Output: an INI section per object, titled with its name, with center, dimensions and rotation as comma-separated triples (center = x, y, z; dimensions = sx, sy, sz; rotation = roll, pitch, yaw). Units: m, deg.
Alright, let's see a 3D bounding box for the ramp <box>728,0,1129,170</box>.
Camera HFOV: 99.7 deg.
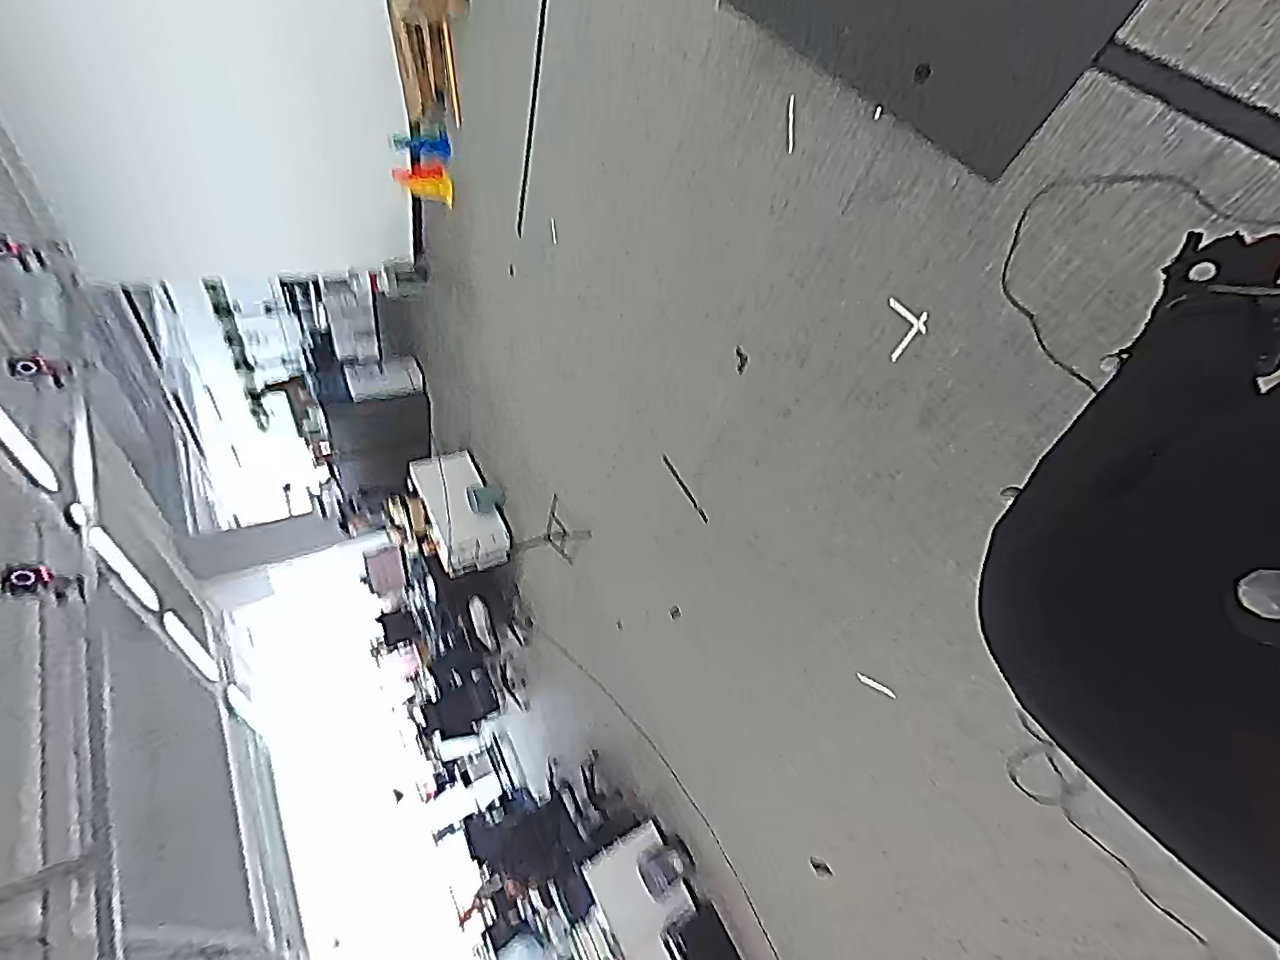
[ramp]
center = 0.572, -1.203, 1.212
dimensions = 0.991, 0.206, 0.509
rotation = 56, 144, 25
